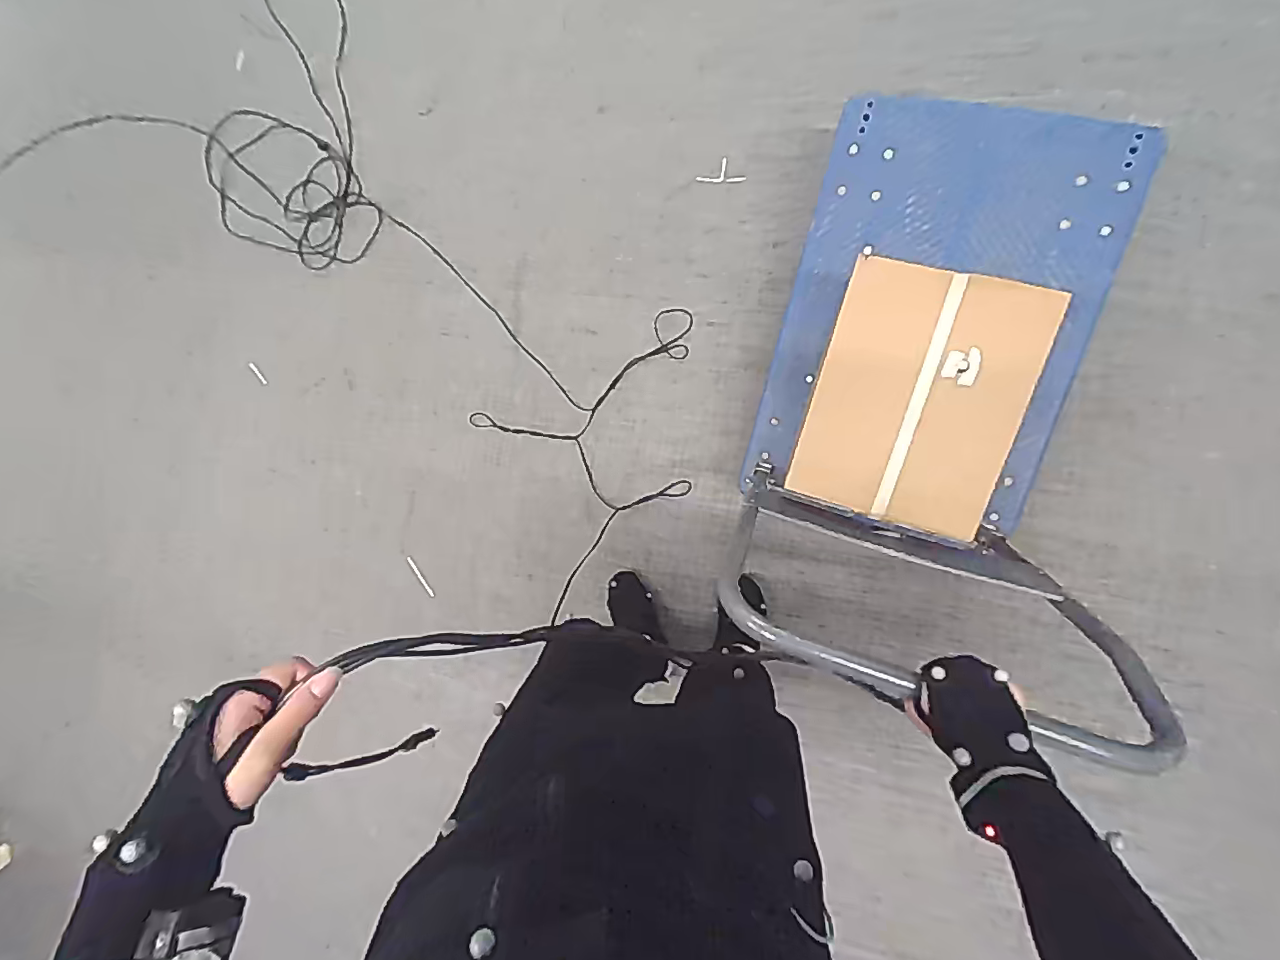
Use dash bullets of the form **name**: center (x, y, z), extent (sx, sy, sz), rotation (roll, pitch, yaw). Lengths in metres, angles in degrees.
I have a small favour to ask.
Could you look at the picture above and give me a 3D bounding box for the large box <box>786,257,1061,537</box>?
- **large box**: center (0.487, -0.150, 1.025), extent (0.320, 0.320, 0.408), rotation (18, 102, 13)
